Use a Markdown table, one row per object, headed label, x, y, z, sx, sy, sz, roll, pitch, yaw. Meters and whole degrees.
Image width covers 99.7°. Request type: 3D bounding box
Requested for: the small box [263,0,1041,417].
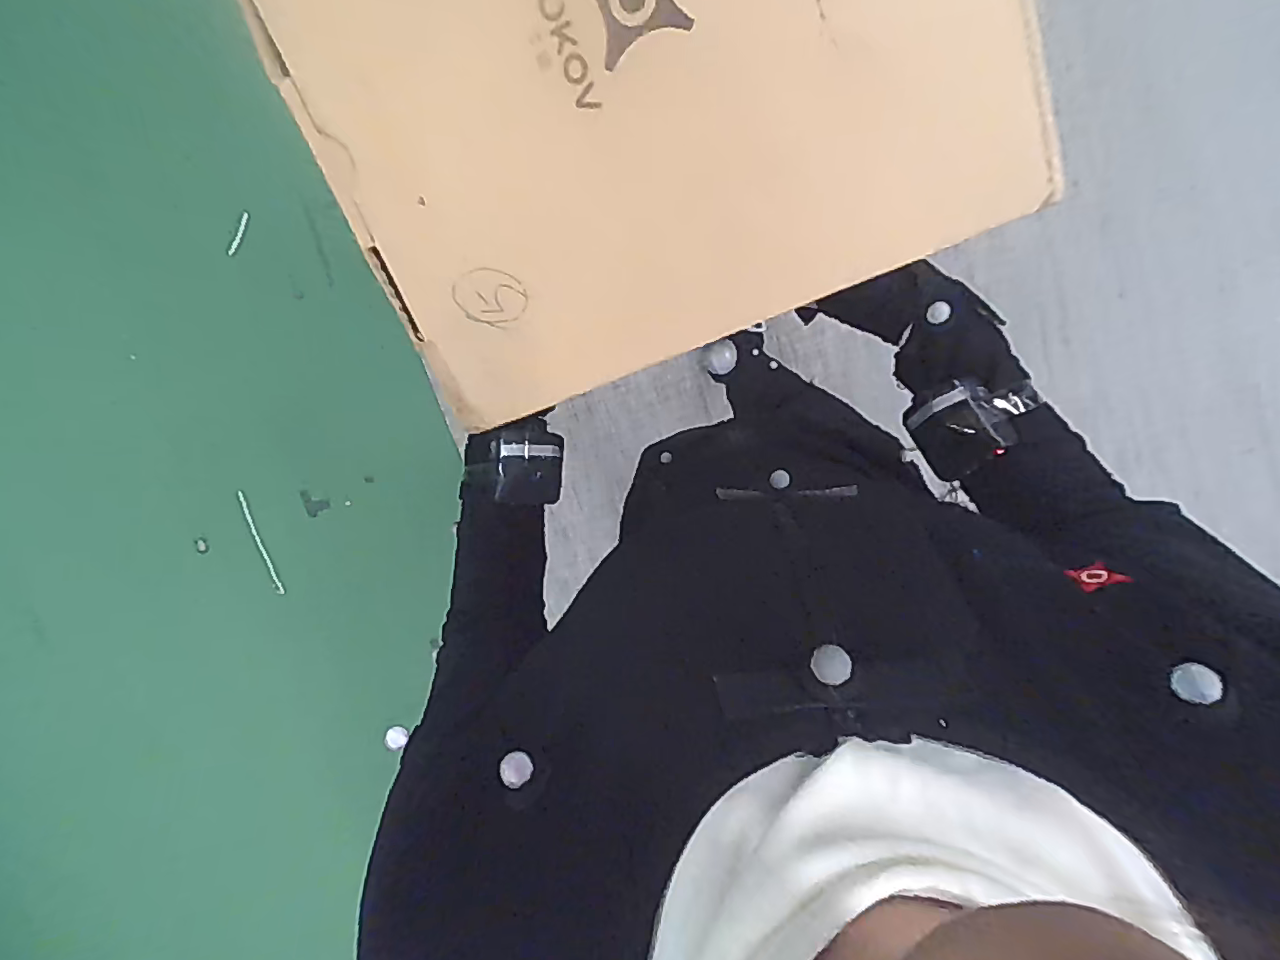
| label | x | y | z | sx | sy | sz | roll | pitch | yaw |
| --- | --- | --- | --- | --- | --- | --- | --- | --- | --- |
| small box | 0.003 | -0.143 | 0.212 | 0.179 | 0.176 | 0.168 | -20 | 107 | 11 |
